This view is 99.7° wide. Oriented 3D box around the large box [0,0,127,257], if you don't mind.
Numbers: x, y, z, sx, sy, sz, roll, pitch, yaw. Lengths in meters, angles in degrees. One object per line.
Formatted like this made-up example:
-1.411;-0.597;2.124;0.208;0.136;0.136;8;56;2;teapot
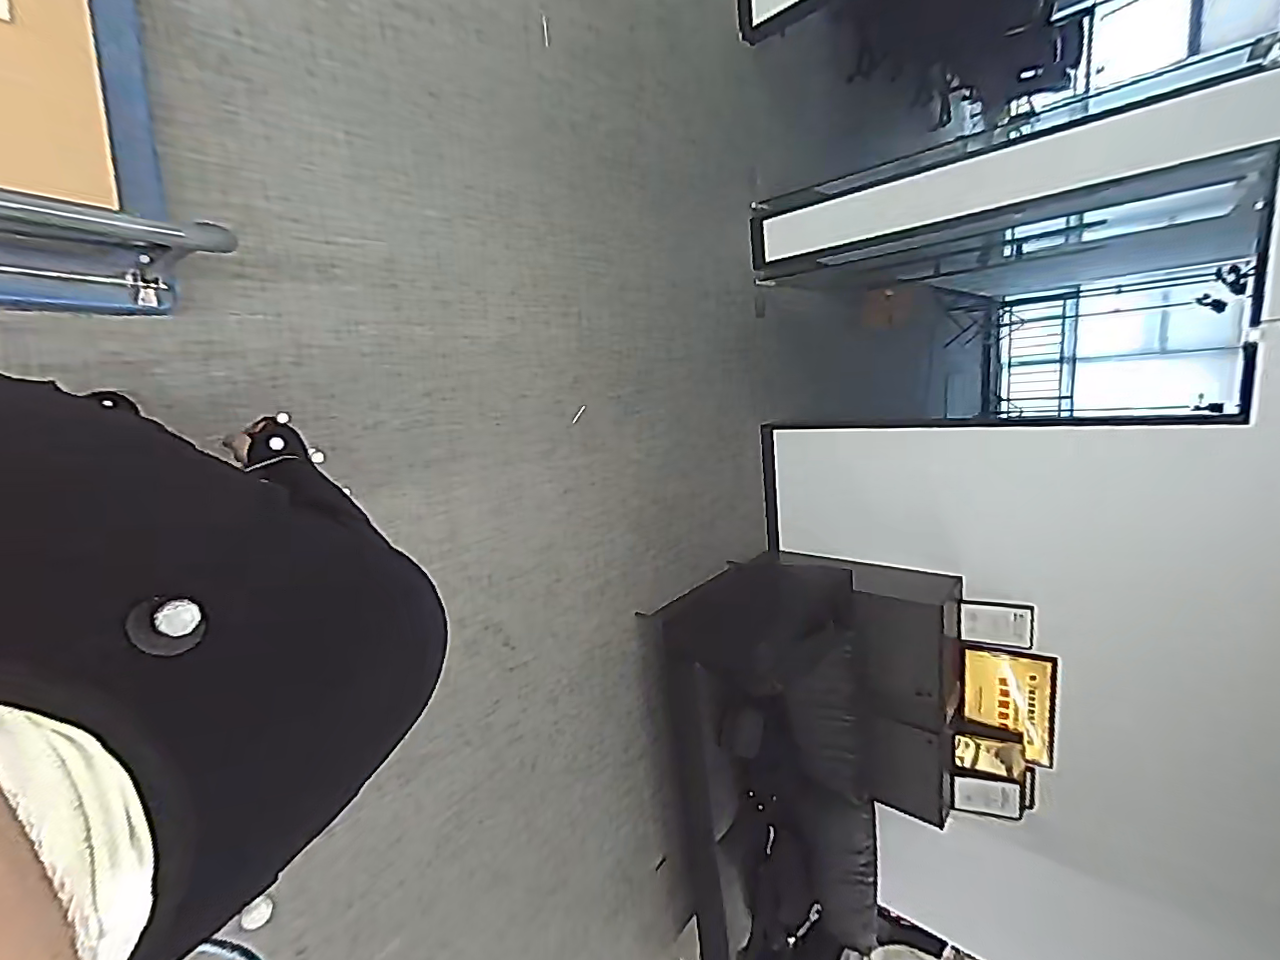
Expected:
-1.038;-0.598;0.820;0.320;0.320;0.408;-11;101;-48;large box
